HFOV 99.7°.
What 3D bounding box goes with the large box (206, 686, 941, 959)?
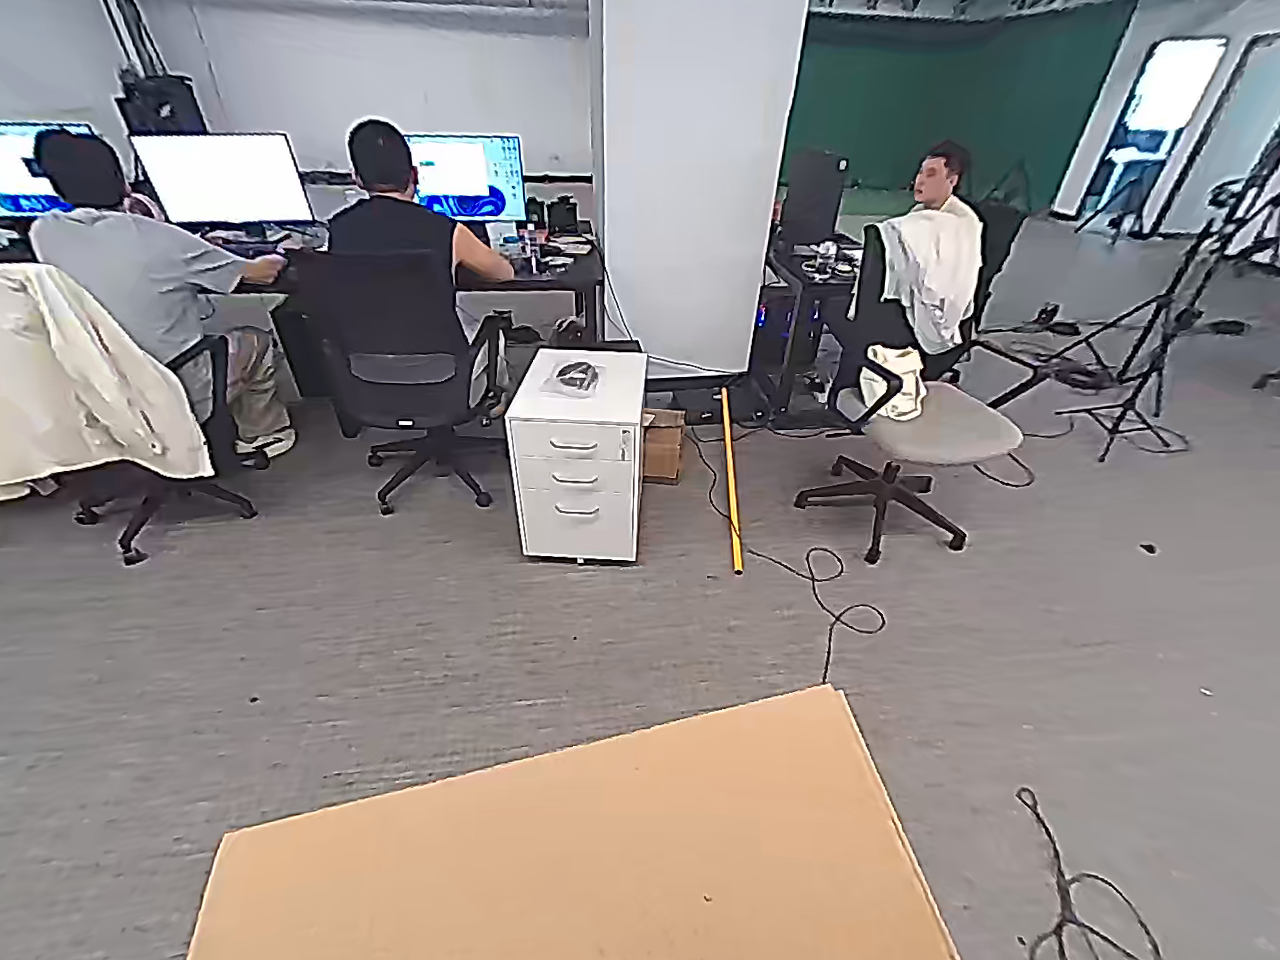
[{"bbox_3d":[-0.018,0.390,0.373,0.408,0.320,0.320,-13,49,-2],"label":"large box"}]
